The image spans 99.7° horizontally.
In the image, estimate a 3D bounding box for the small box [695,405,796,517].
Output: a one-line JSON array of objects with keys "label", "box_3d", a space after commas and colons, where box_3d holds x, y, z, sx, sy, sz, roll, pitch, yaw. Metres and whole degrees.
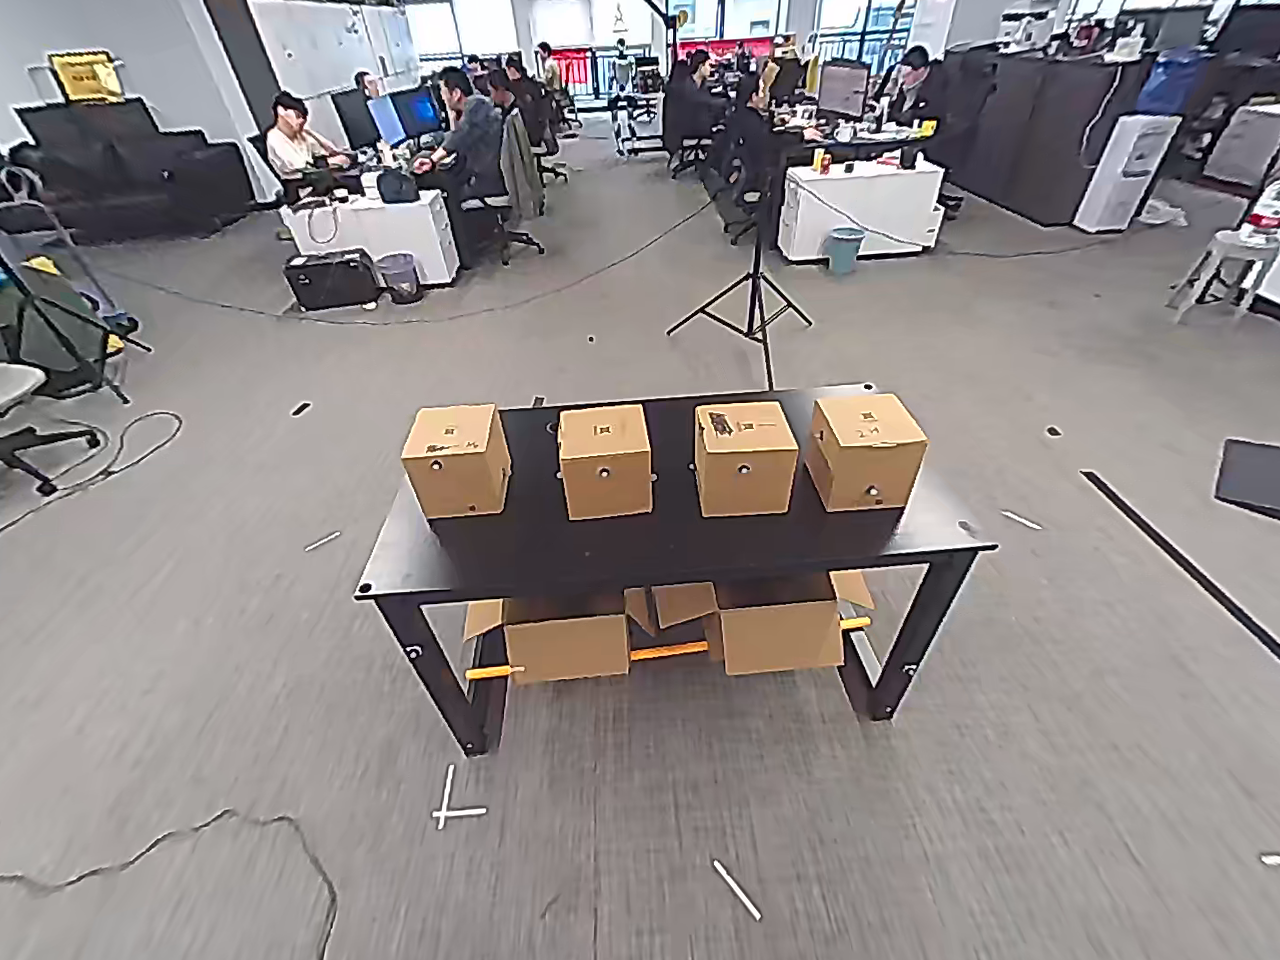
[{"label": "small box", "box_3d": [0.208, -0.037, 1.116, 0.179, 0.176, 0.168, -3, 40, 1]}]

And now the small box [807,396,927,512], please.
[{"label": "small box", "box_3d": [0.453, -0.054, 1.115, 0.168, 0.176, 0.179, -4, 40, 1]}]

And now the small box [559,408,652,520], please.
[{"label": "small box", "box_3d": [-0.071, -0.031, 1.134, 0.179, 0.176, 0.168, -6, 41, -4]}]

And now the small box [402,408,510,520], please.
[{"label": "small box", "box_3d": [-0.381, -0.035, 1.157, 0.168, 0.176, 0.179, -5, 40, -2]}]
